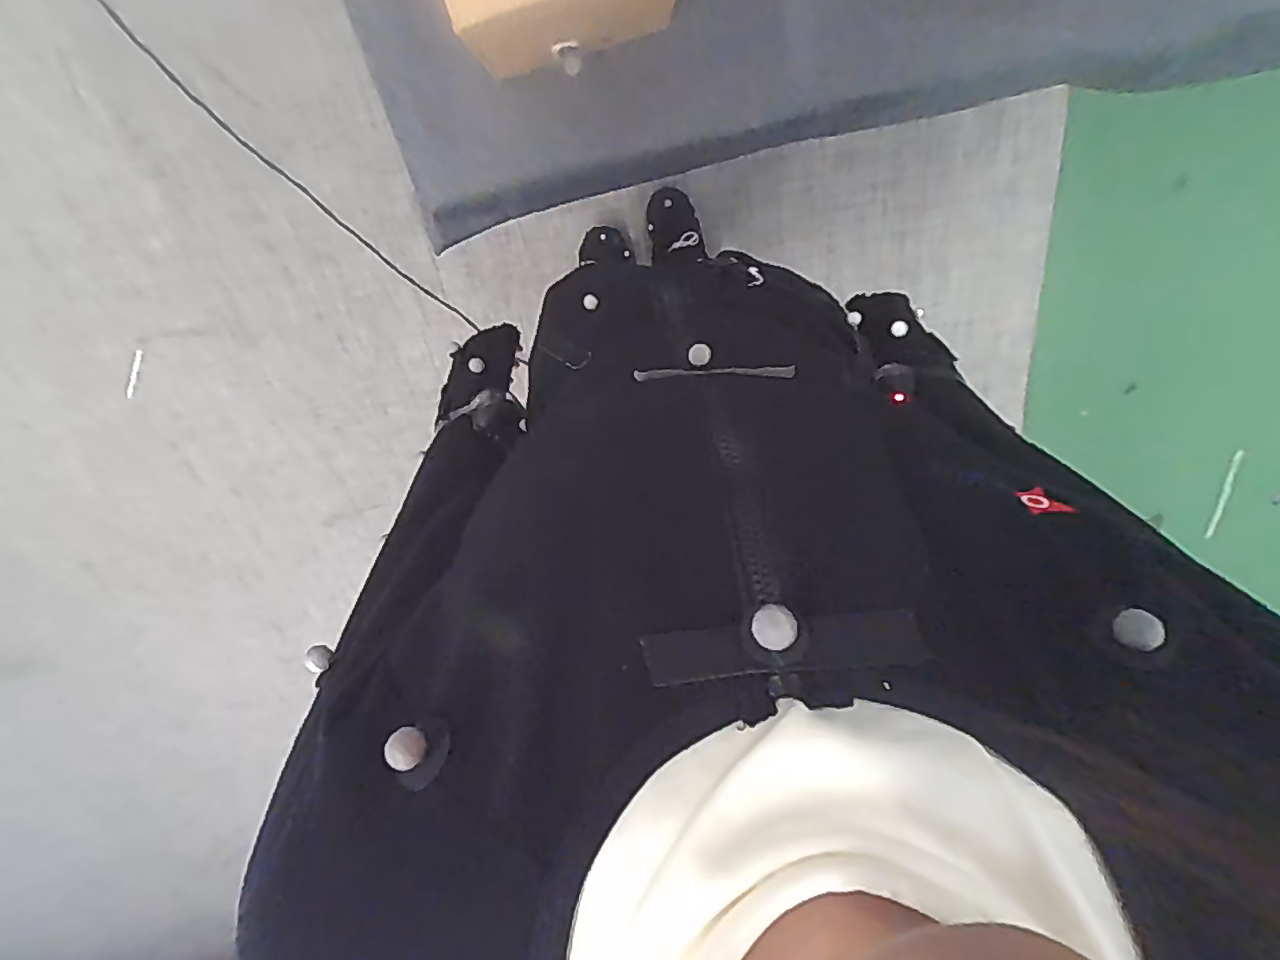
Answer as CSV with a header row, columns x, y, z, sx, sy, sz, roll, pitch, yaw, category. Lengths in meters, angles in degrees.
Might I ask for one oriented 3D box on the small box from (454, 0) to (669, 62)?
x,y,z,sx,sy,sz,roll,pitch,yaw,category
-0.069,-0.439,0.384,0.168,0.176,0.179,-14,118,5,small box
